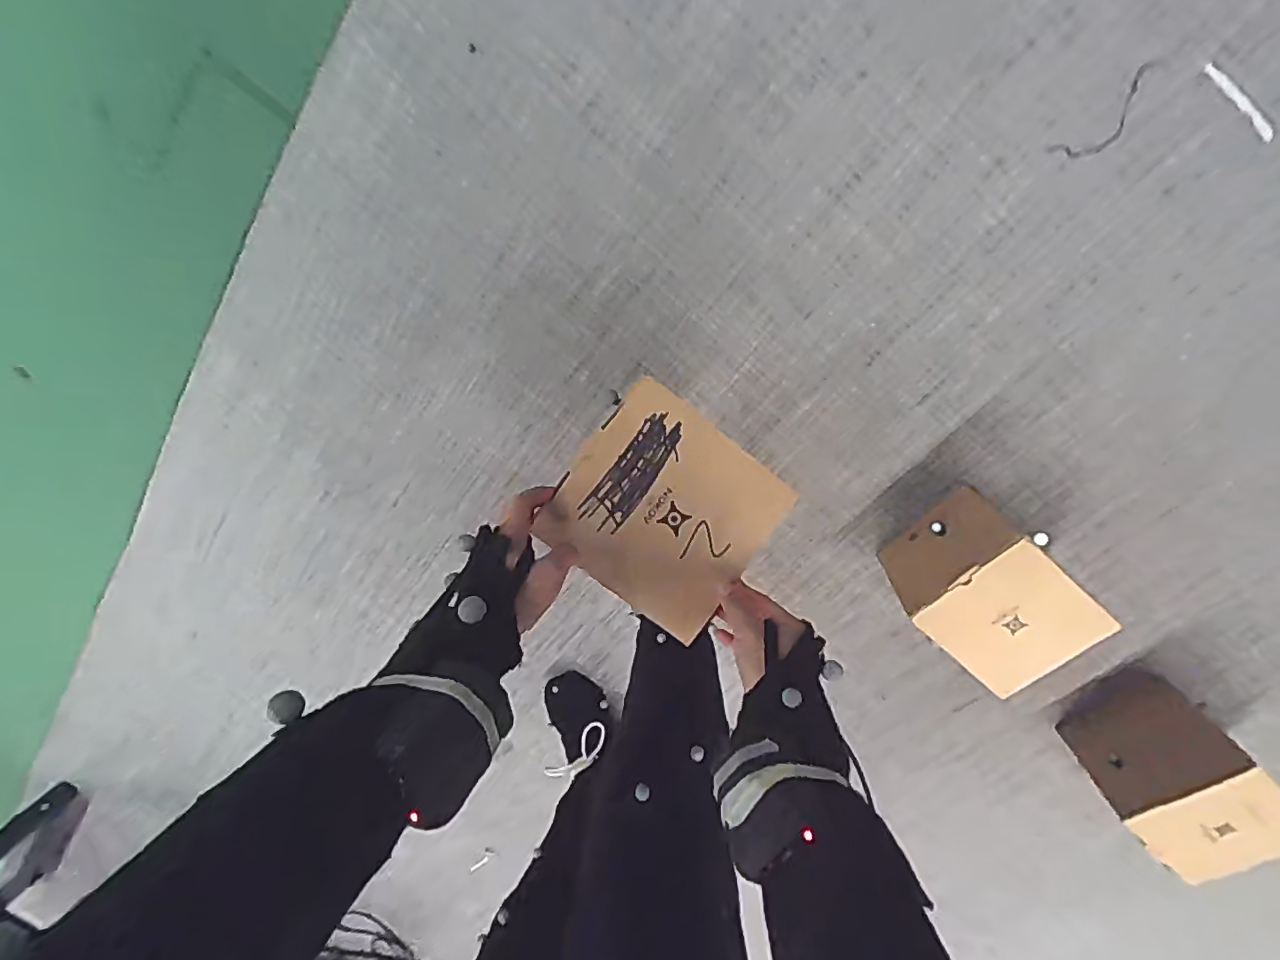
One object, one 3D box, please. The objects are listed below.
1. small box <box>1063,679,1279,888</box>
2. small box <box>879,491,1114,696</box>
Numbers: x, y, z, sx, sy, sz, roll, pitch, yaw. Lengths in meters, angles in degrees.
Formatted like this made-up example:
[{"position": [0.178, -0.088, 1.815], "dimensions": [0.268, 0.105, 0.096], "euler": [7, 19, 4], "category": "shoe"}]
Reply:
[{"position": [0.775, 0.436, 0.792], "dimensions": [0.168, 0.176, 0.179], "euler": [44, 110, -9], "category": "small box"}, {"position": [0.463, 0.144, 0.734], "dimensions": [0.179, 0.176, 0.168], "euler": [40, 112, -6], "category": "small box"}]
